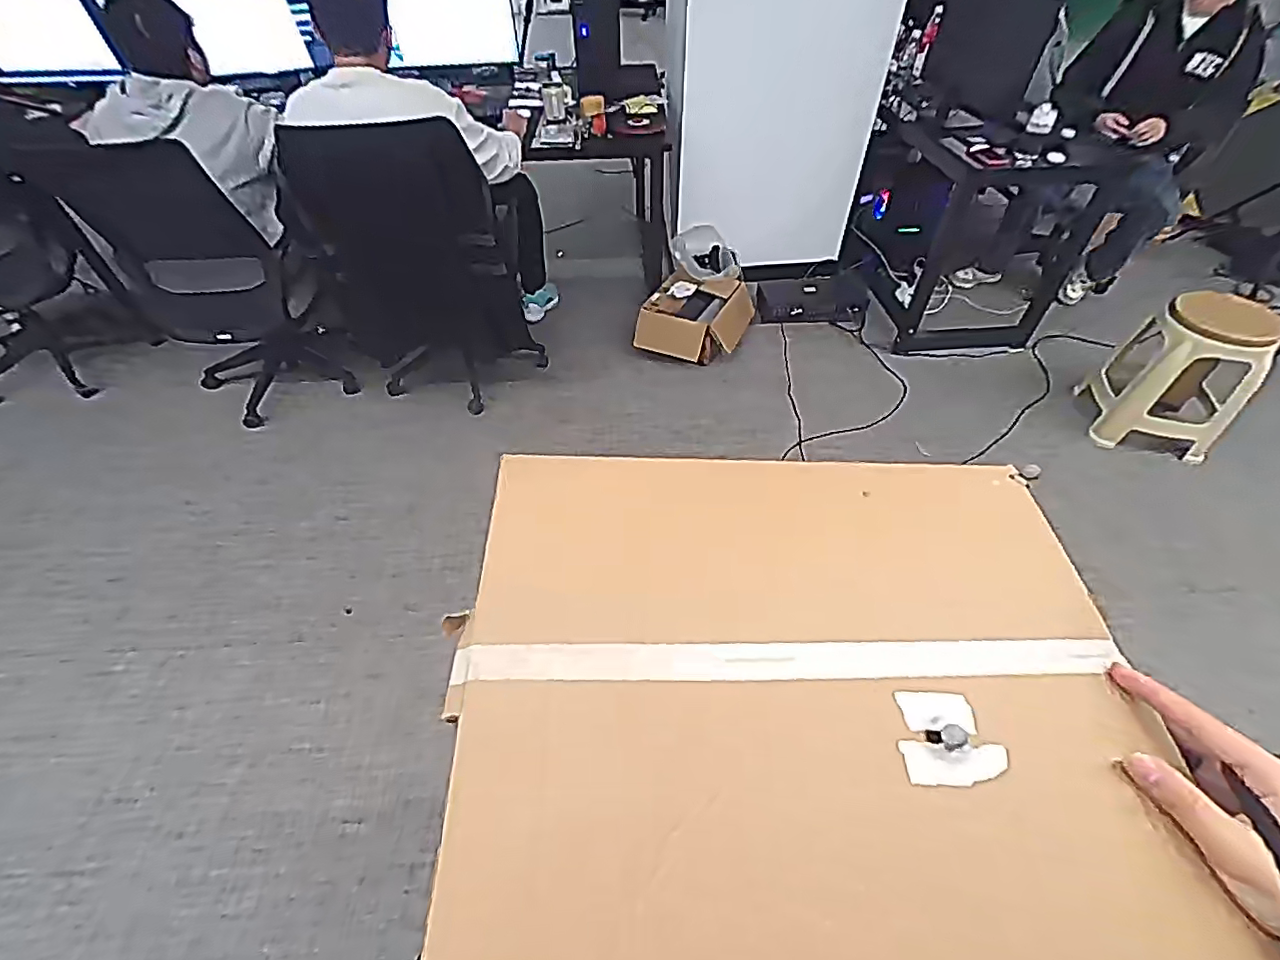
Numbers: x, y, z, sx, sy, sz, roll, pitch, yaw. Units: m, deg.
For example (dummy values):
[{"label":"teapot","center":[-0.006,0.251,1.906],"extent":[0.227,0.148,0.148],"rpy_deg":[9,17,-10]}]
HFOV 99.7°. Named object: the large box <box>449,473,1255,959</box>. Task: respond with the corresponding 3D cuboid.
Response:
[{"label":"large box","center":[0.090,0.208,0.455],"extent":[0.408,0.320,0.320],"rpy_deg":[1,54,-5]}]
